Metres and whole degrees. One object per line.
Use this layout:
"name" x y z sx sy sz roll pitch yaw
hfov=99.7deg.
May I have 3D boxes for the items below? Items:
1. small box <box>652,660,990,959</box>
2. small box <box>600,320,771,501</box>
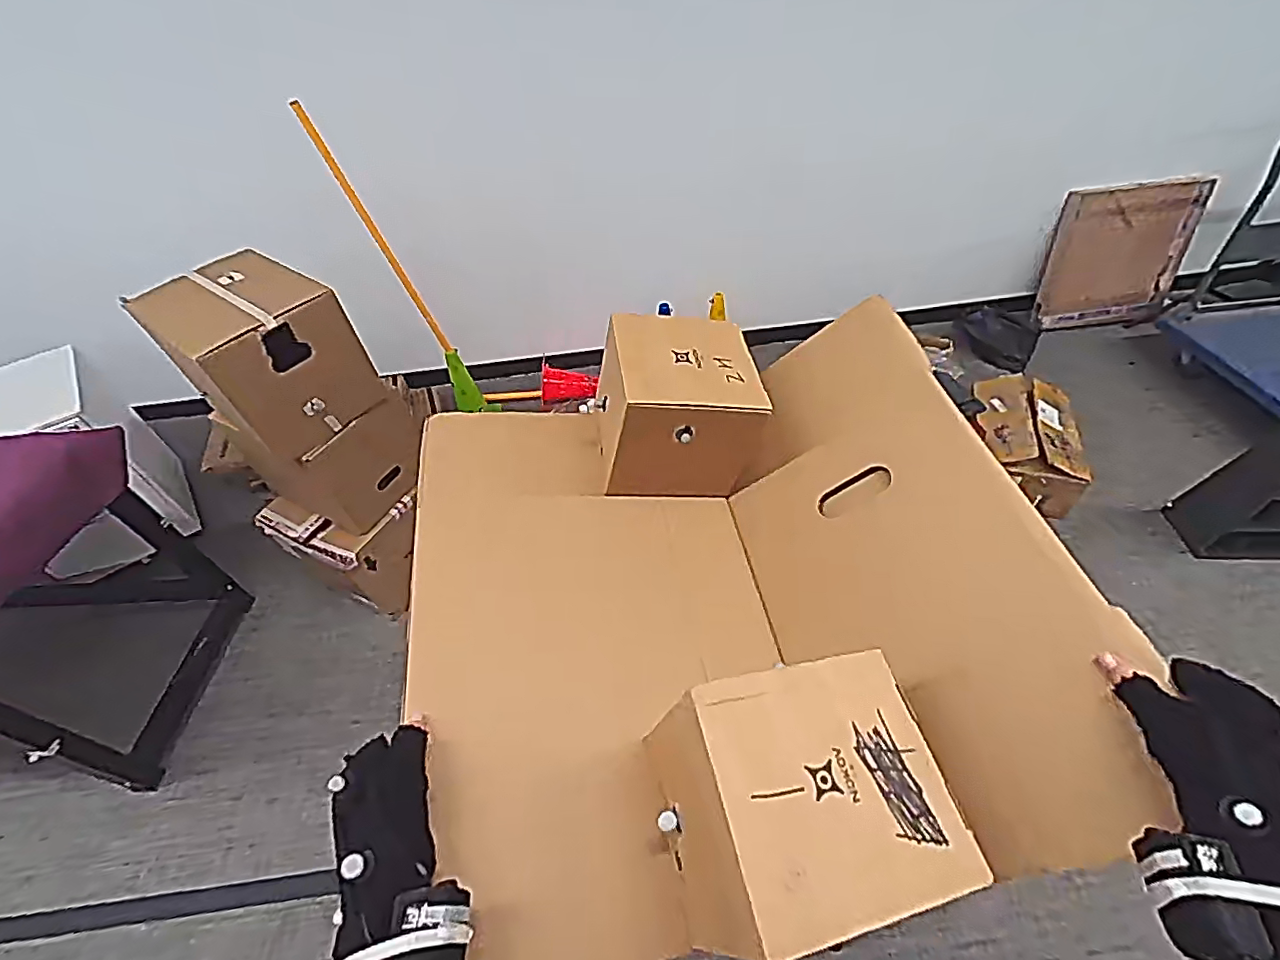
"small box" 0.124 0.268 0.448 0.179 0.176 0.168 -4 54 -16
"small box" 0.044 -0.085 0.711 0.179 0.176 0.168 2 52 -14
